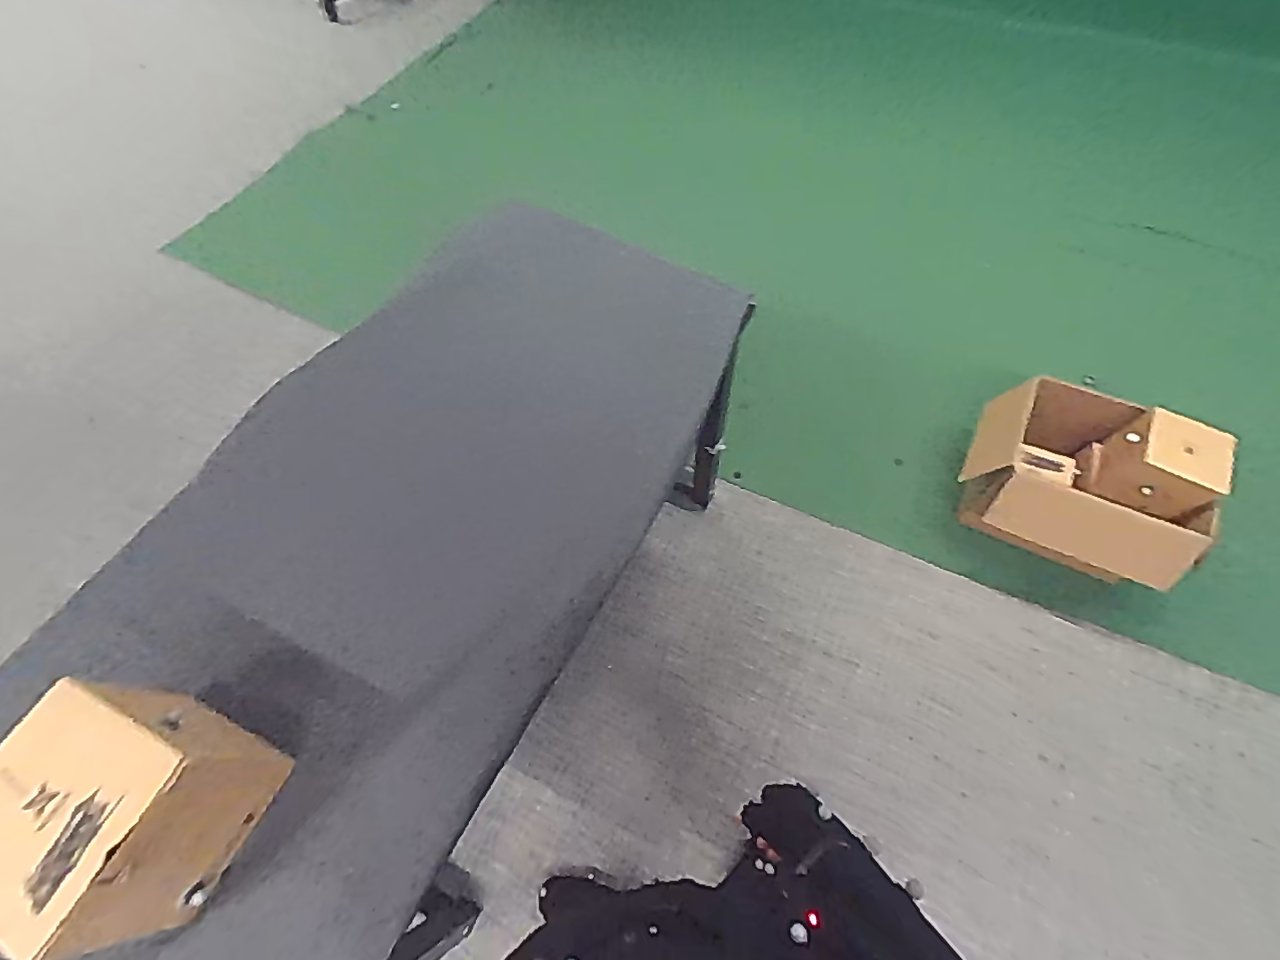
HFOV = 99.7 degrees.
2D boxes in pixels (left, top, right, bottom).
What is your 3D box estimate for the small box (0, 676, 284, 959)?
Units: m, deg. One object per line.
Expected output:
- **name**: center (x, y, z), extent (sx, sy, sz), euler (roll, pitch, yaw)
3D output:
- **small box**: center (-0.516, 0.321, 0.543), extent (0.179, 0.176, 0.168), euler (20, 64, 14)
